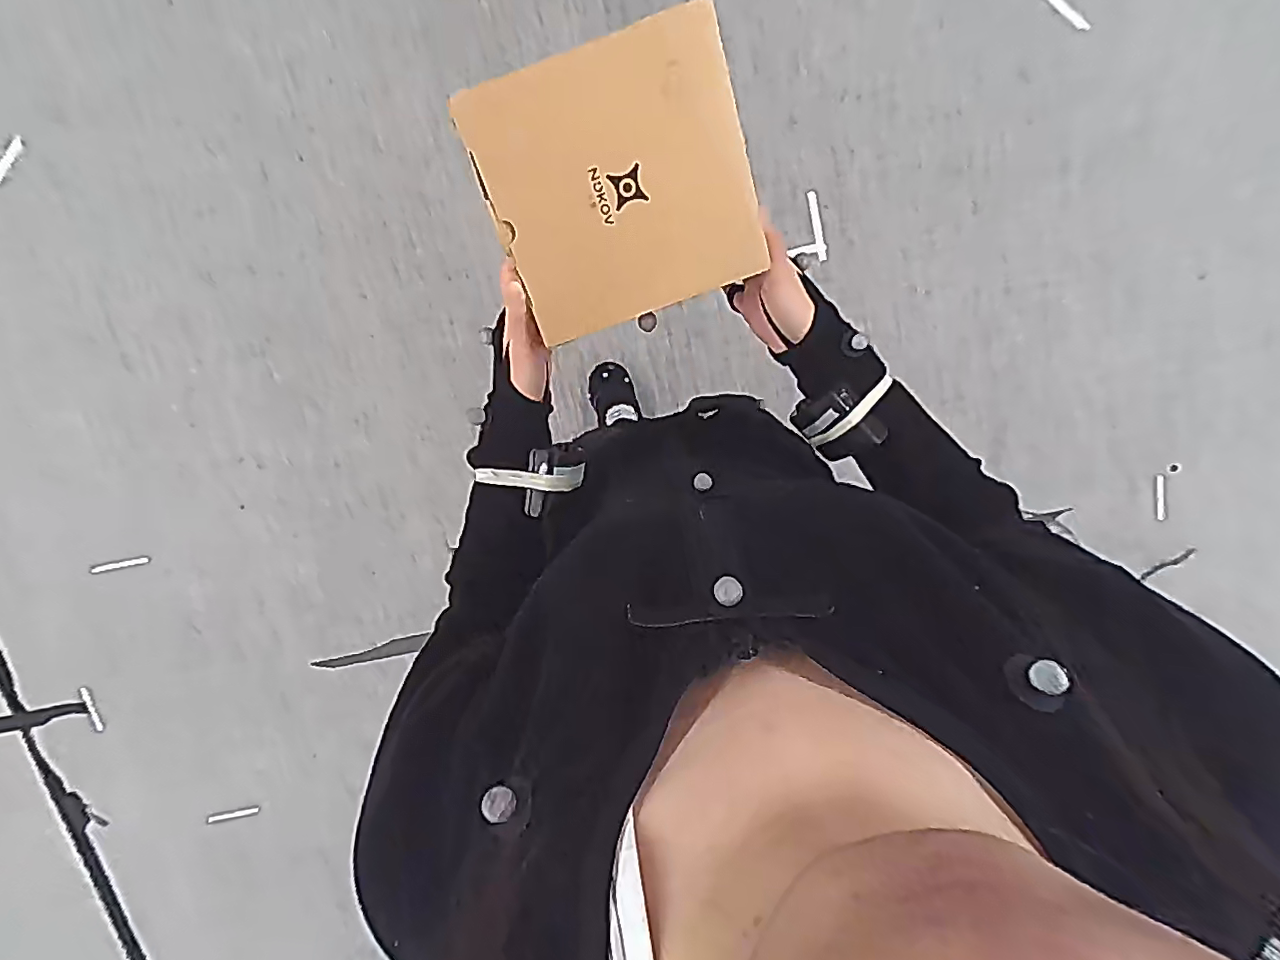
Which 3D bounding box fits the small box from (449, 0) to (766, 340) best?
[{"bbox_3d":[-0.020,-0.231,0.434,0.179,0.176,0.168,-18,113,4],"label":"small box"}]
